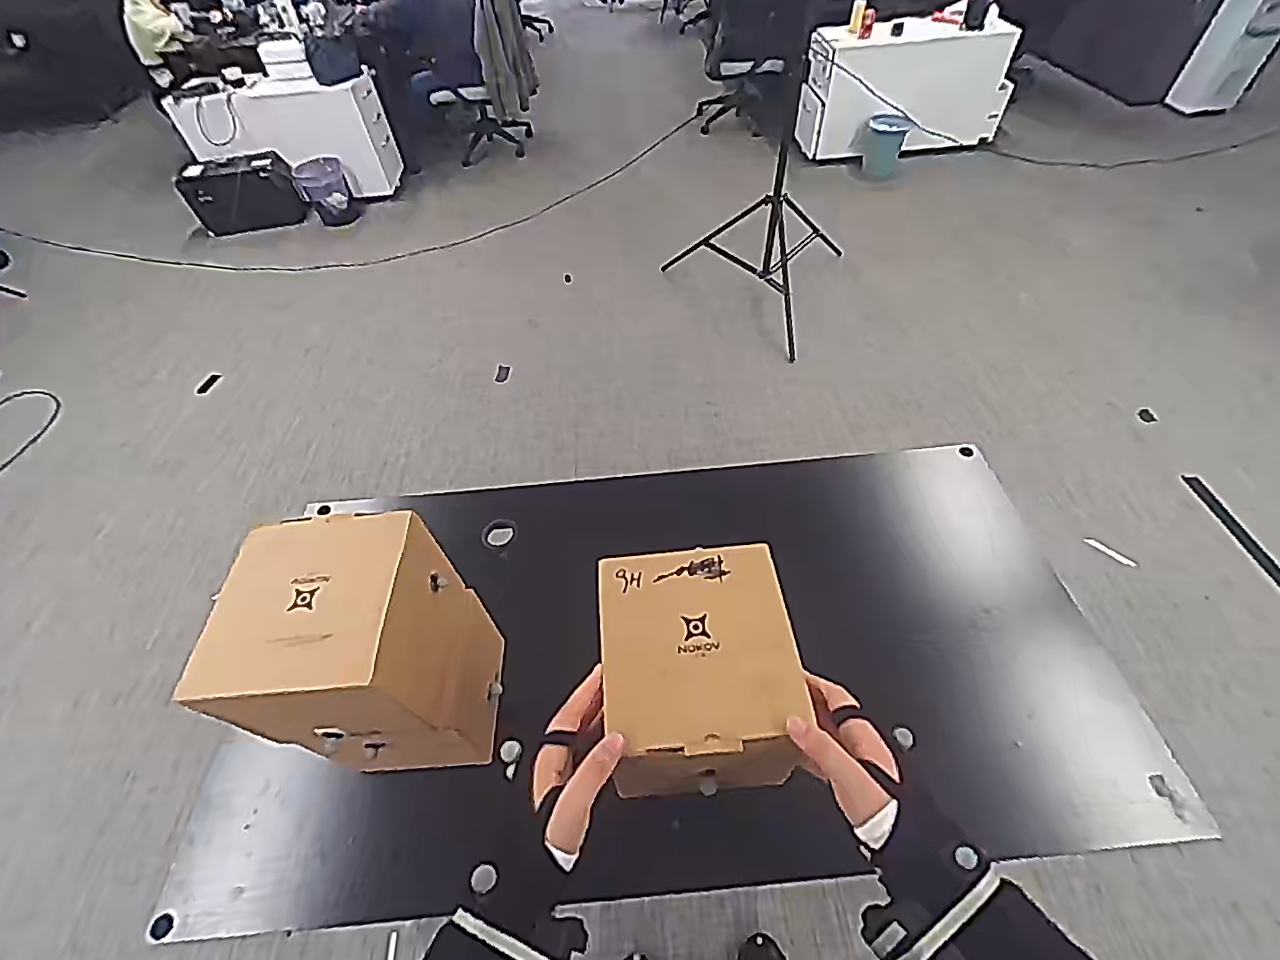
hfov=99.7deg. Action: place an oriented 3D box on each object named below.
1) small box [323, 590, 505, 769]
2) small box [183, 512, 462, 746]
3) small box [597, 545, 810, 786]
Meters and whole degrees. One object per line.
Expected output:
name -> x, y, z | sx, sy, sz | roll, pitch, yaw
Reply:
small box -> -0.284, 0.256, 0.683 | 0.179, 0.176, 0.168 | -4, 51, 0
small box -> -0.295, 0.155, 0.556 | 0.168, 0.176, 0.179 | -6, 52, 1
small box -> 0.051, 0.188, 0.530 | 0.168, 0.176, 0.179 | -6, 51, -1
